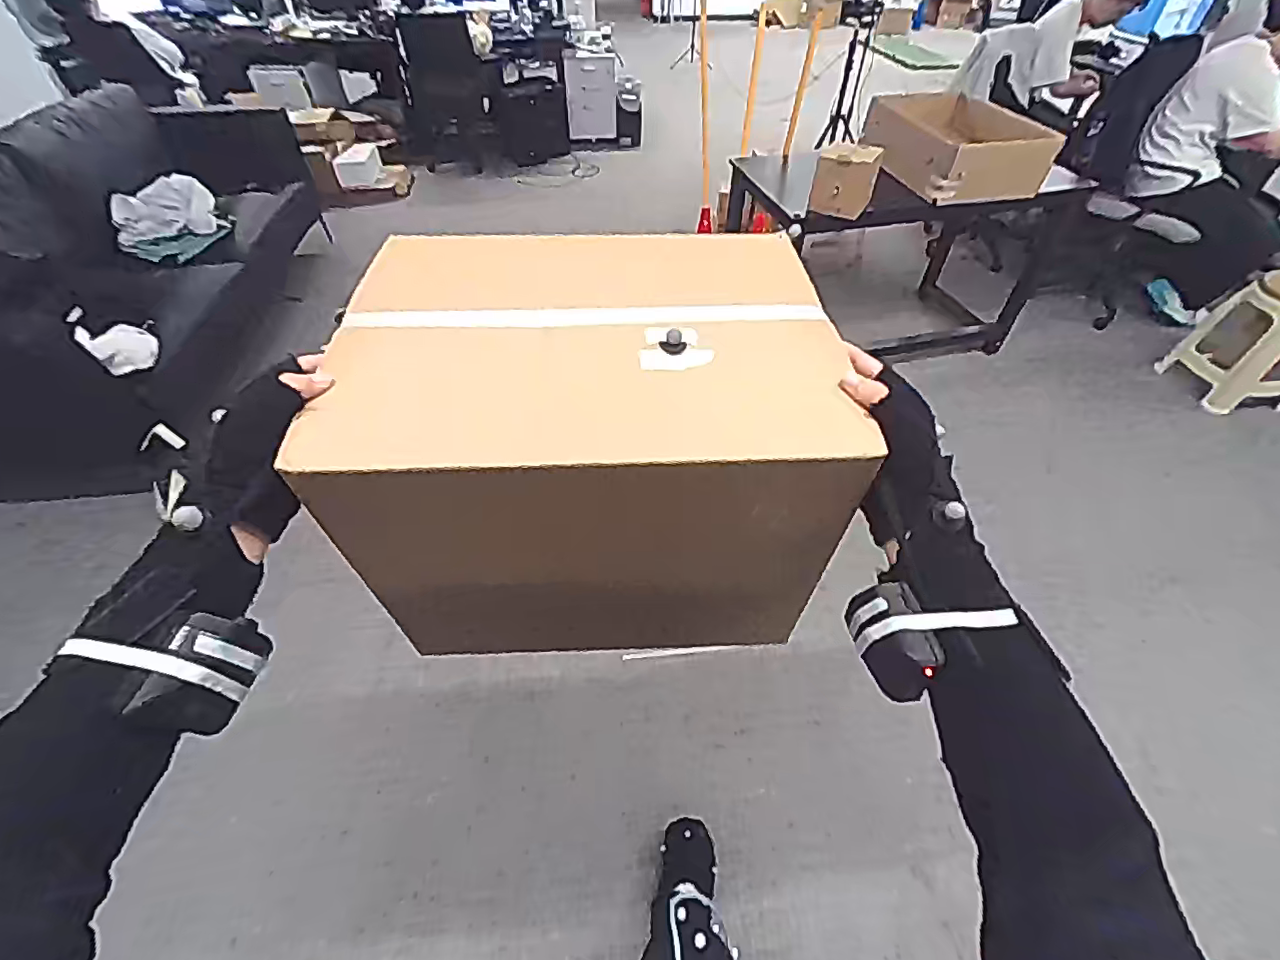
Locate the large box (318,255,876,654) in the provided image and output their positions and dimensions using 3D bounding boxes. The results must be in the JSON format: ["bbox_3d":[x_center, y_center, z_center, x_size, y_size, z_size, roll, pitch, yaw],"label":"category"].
[{"bbox_3d":[-0.039,-0.026,0.587,0.408,0.320,0.320,-1,50,-3],"label":"large box"}]
